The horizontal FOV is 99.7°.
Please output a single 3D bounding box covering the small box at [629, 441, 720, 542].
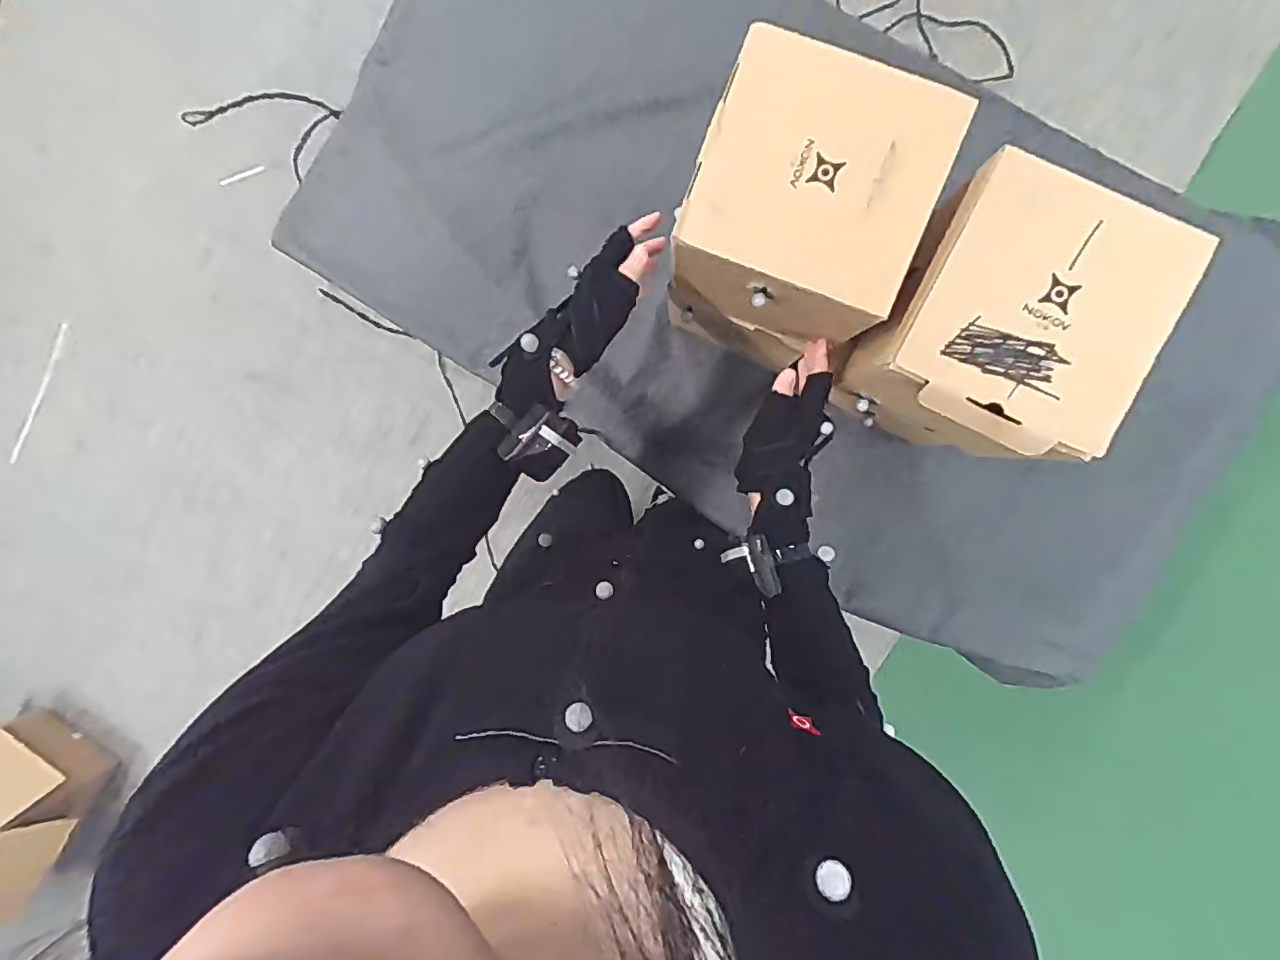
[{"bbox_3d":[0.083,0.033,1.412,0.179,0.176,0.168,-22,62,-16],"label":"small box"}]
